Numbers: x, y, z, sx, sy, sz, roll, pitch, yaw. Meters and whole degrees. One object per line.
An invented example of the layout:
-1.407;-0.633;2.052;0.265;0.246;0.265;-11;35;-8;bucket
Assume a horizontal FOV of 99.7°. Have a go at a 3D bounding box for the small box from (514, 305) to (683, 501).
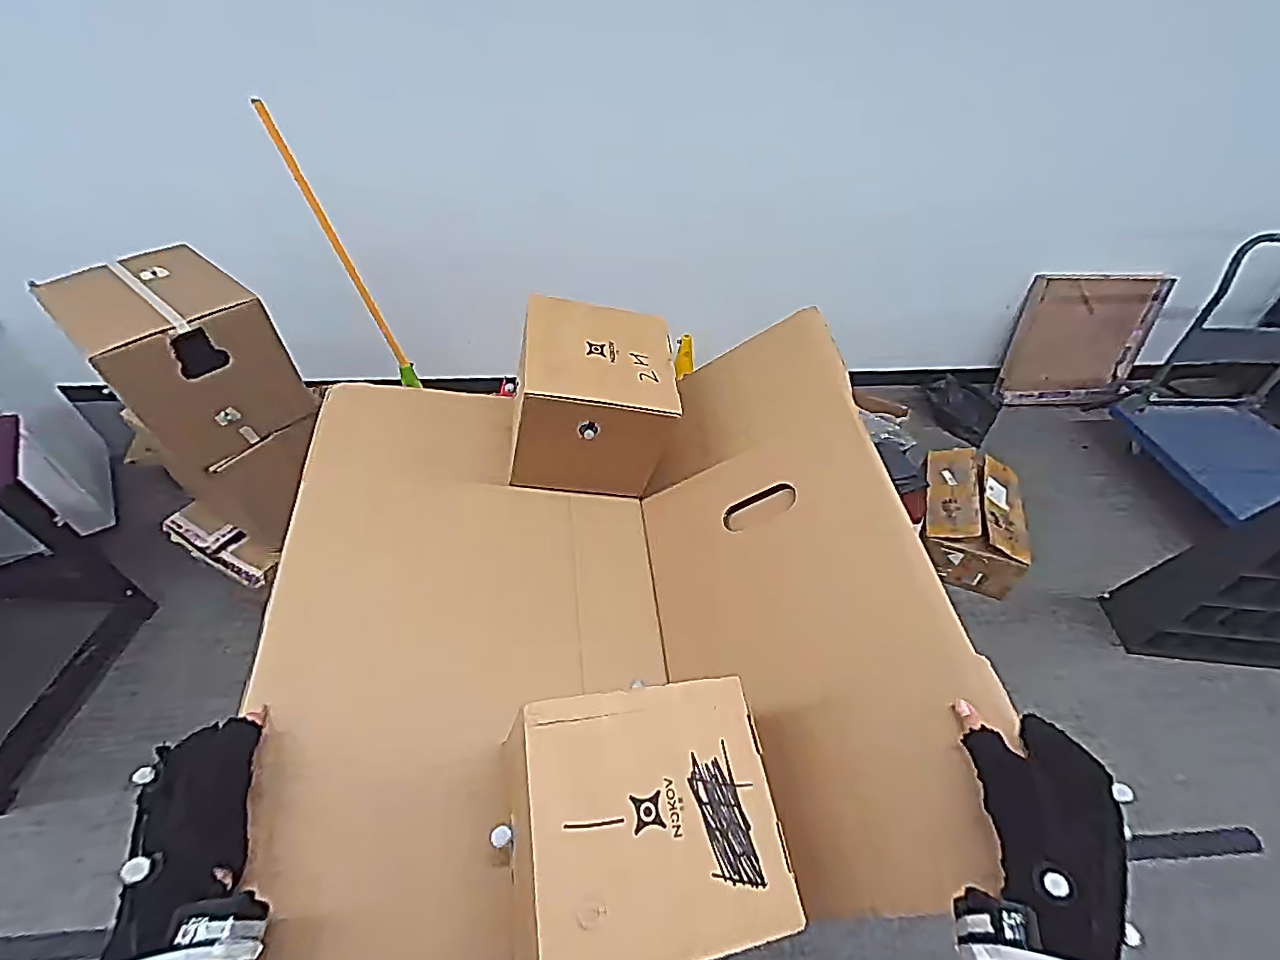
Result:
-0.061;-0.088;0.682;0.179;0.176;0.168;7;53;-15;small box
